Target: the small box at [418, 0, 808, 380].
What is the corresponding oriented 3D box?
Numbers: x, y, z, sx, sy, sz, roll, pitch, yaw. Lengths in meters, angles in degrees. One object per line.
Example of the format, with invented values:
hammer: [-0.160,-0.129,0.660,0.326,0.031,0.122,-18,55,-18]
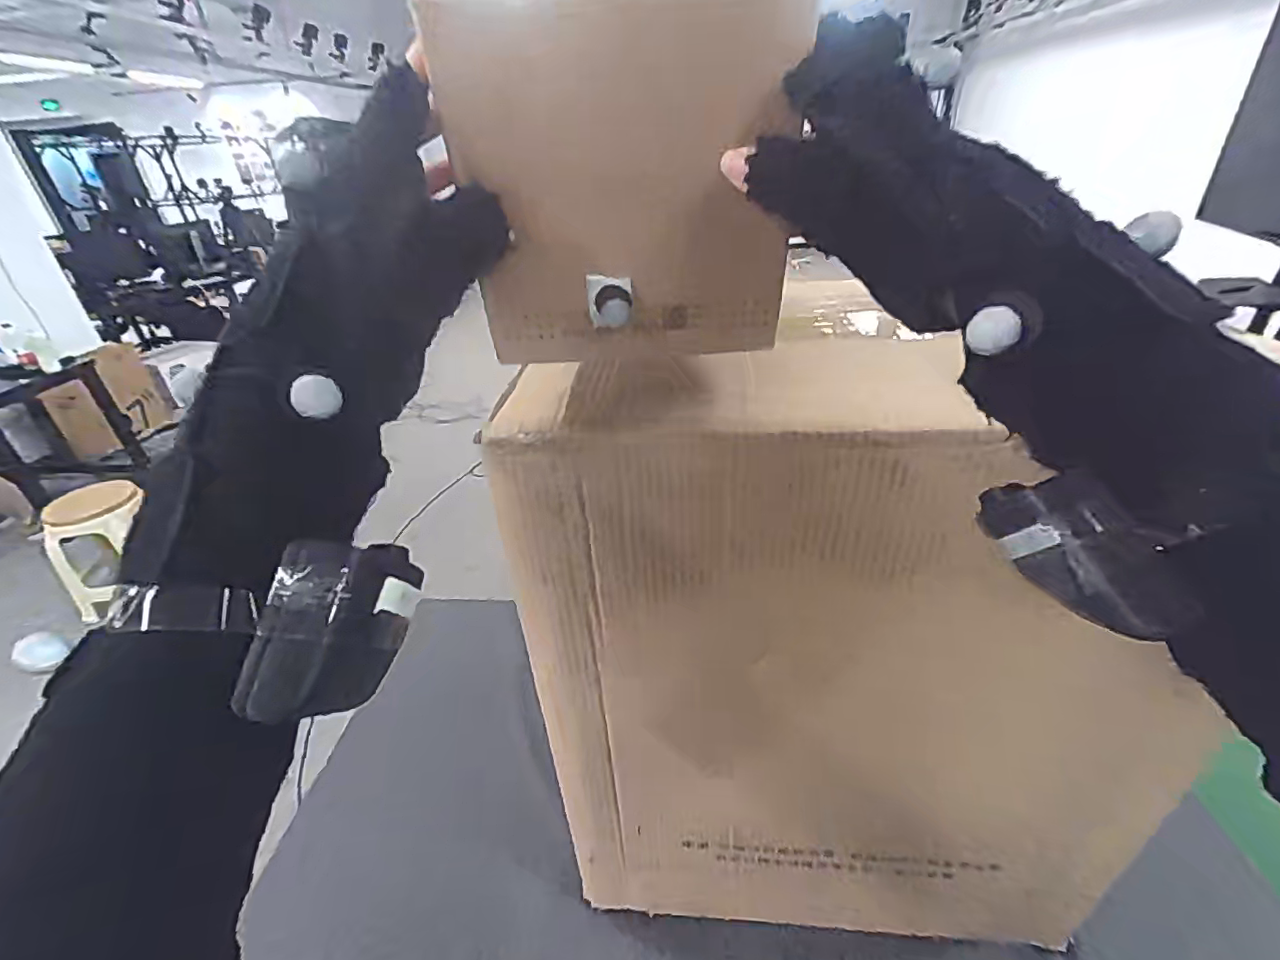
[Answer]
small box: [-0.011,-0.182,0.337,0.168,0.176,0.179,-6,42,0]
